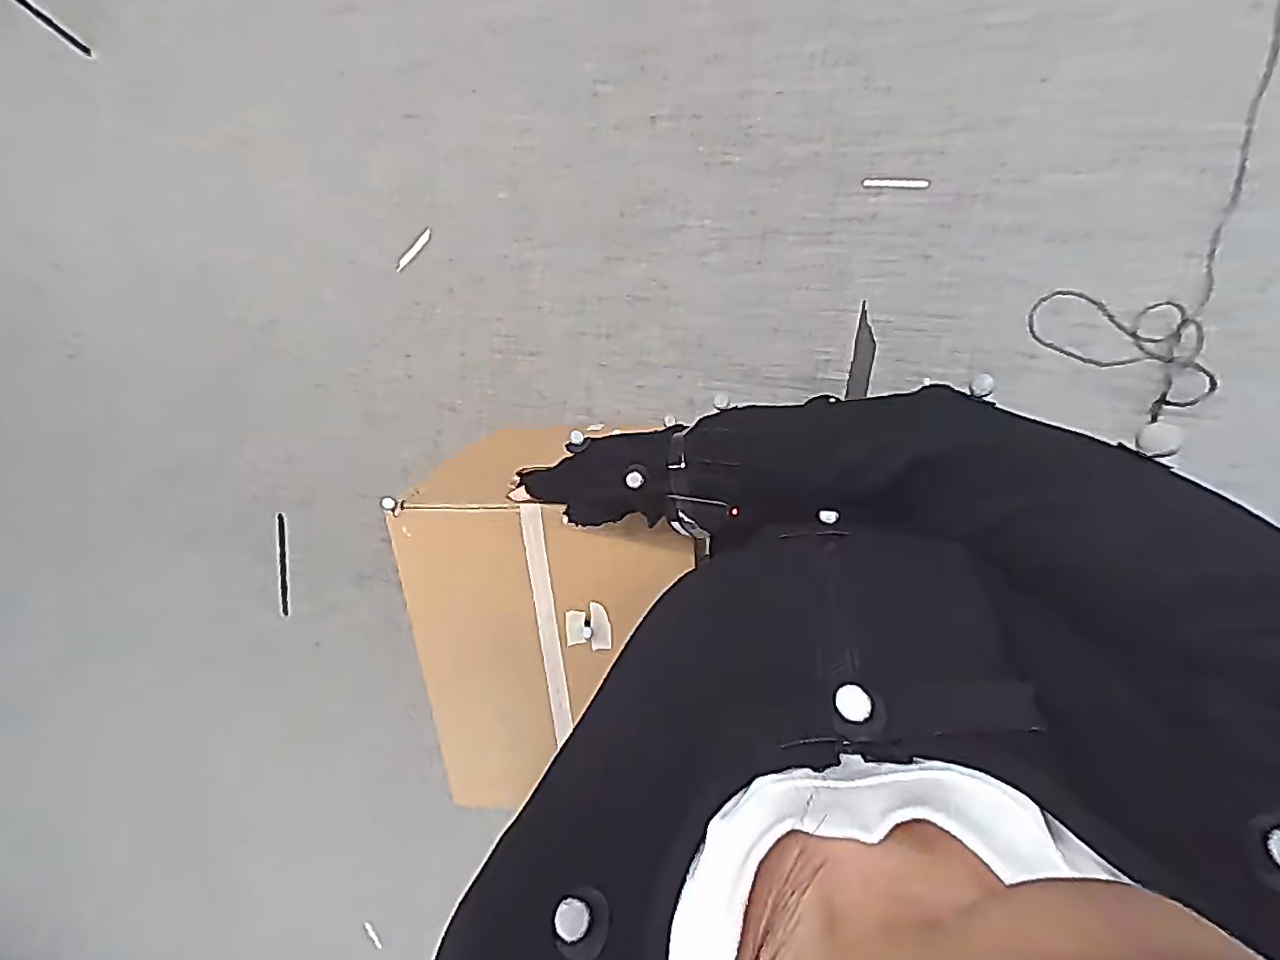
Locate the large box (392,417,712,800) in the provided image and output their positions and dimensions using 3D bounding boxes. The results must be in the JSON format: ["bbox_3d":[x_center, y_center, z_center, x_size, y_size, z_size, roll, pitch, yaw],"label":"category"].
[{"bbox_3d":[-0.069,0.147,0.736,0.320,0.320,0.408,-2,108,8],"label":"large box"}]
